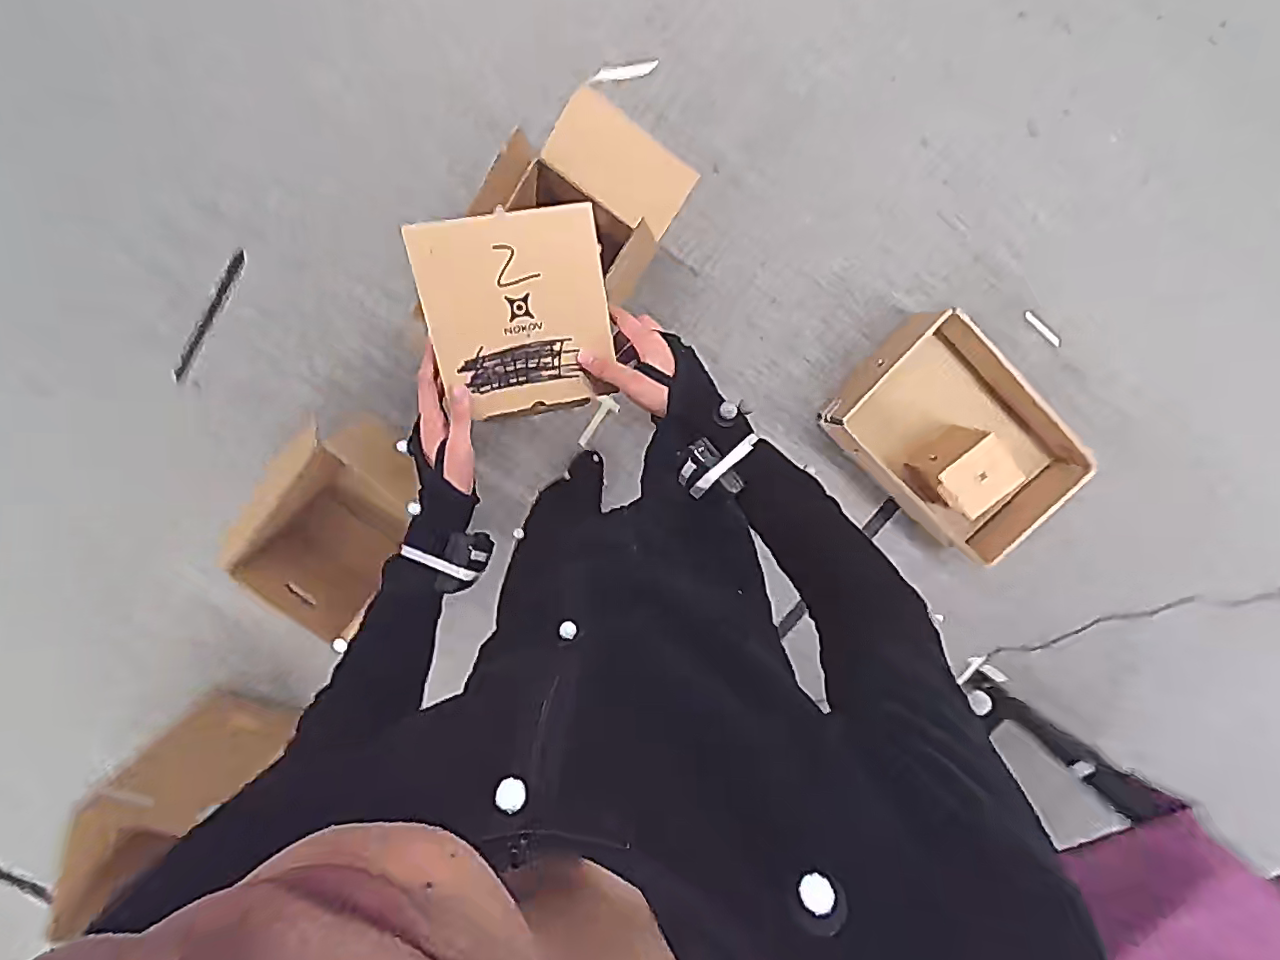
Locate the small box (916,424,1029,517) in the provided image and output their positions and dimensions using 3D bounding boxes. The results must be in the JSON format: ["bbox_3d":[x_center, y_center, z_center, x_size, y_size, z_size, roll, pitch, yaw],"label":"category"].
[{"bbox_3d":[0.884,-0.031,1.465,0.179,0.176,0.168,-40,101,7],"label":"small box"}]
